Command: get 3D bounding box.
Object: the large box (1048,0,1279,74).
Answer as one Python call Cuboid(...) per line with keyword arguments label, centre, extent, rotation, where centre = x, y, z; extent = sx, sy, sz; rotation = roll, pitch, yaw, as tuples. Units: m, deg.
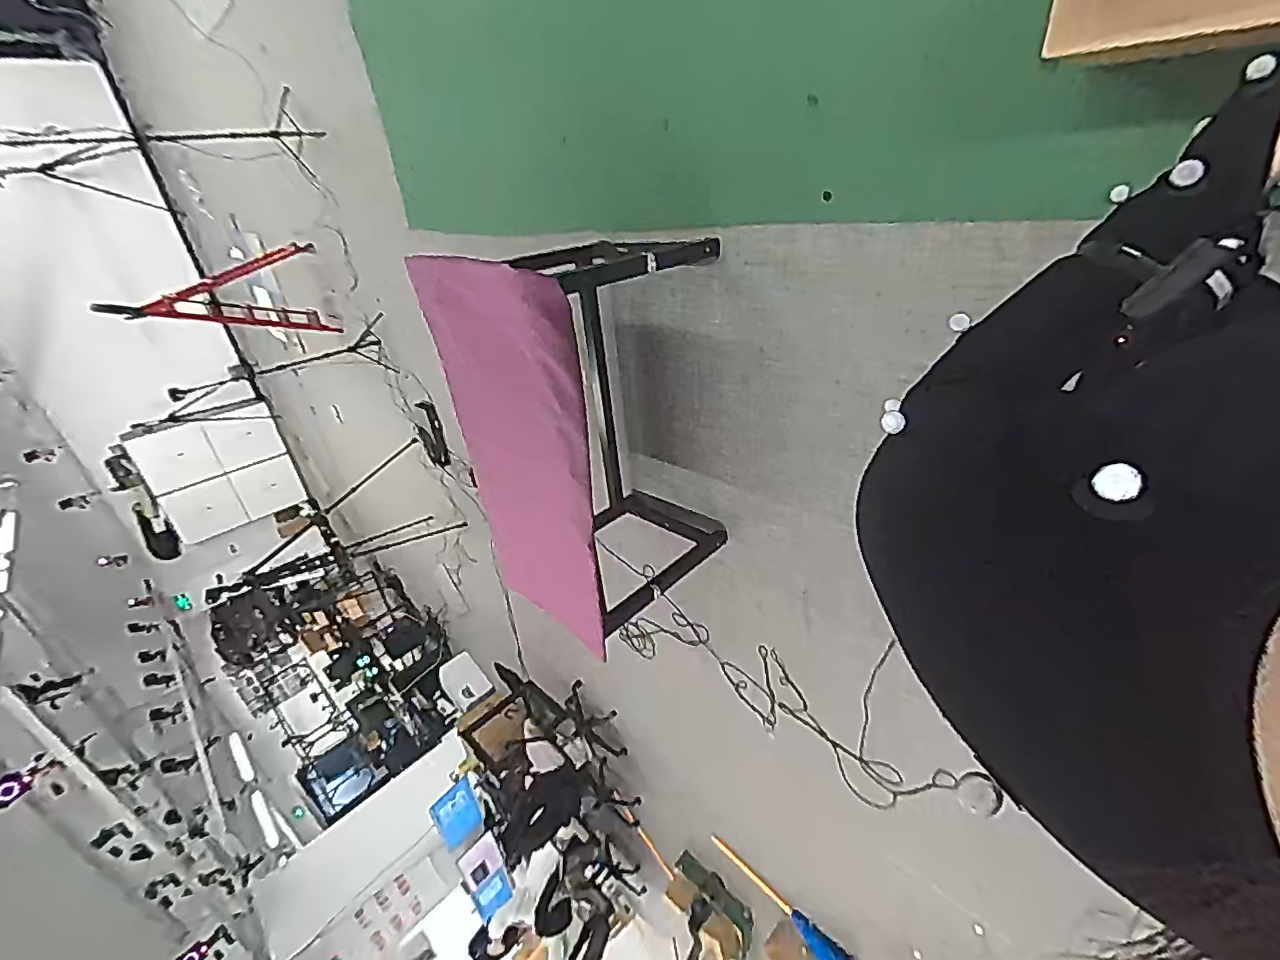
Cuboid(label="large box", centre=(0.851, -0.770, 0.717), extent=(0.408, 0.320, 0.320), rotation=(23, 130, 39))
